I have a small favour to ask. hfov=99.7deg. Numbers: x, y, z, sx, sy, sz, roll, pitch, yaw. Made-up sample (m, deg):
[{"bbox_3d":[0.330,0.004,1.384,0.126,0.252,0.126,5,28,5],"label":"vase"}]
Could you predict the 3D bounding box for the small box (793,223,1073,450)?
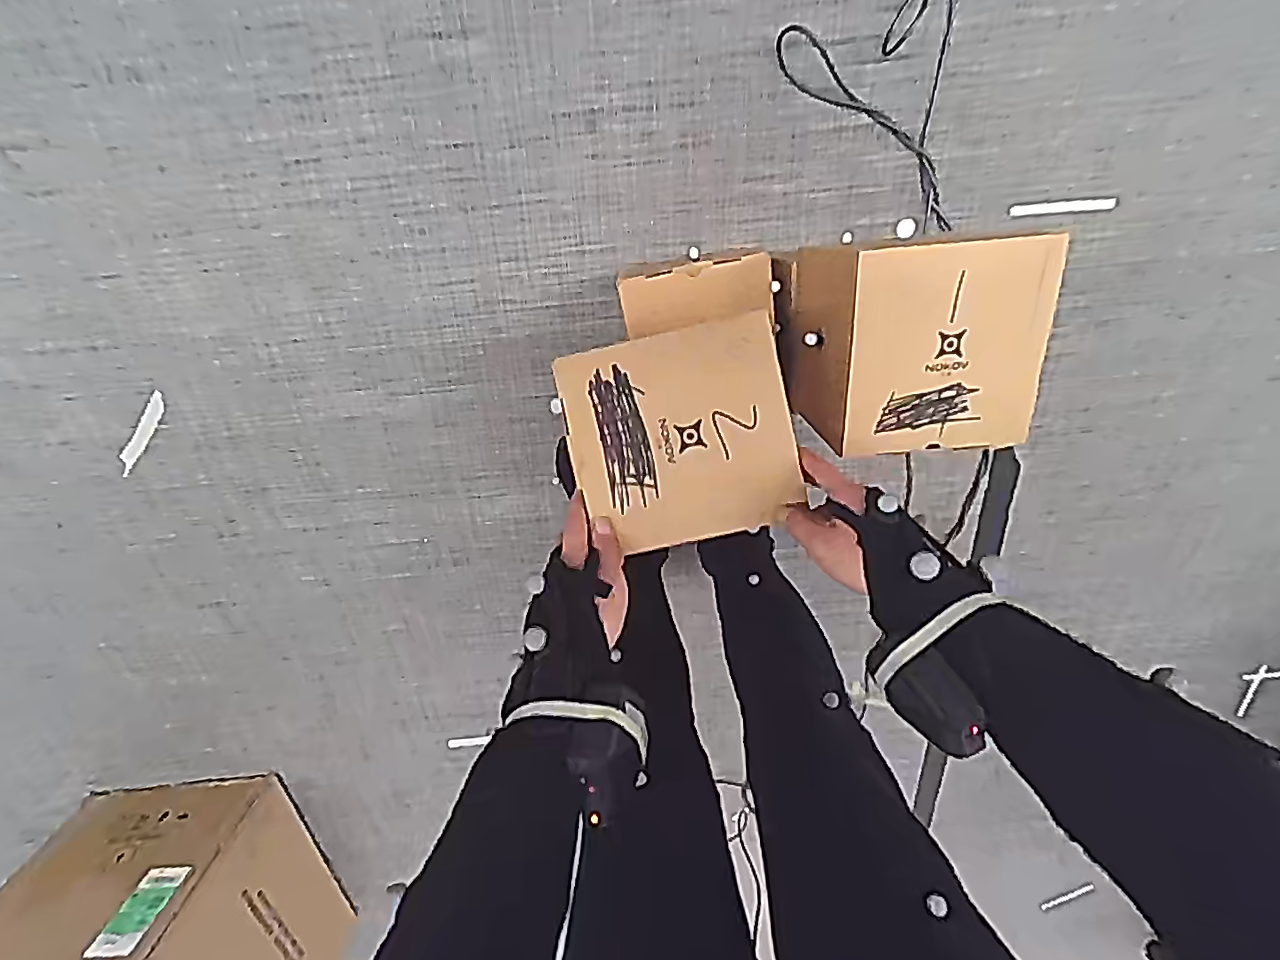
[{"bbox_3d":[0.251,-0.143,0.515,0.168,0.176,0.179,-5,113,1],"label":"small box"}]
